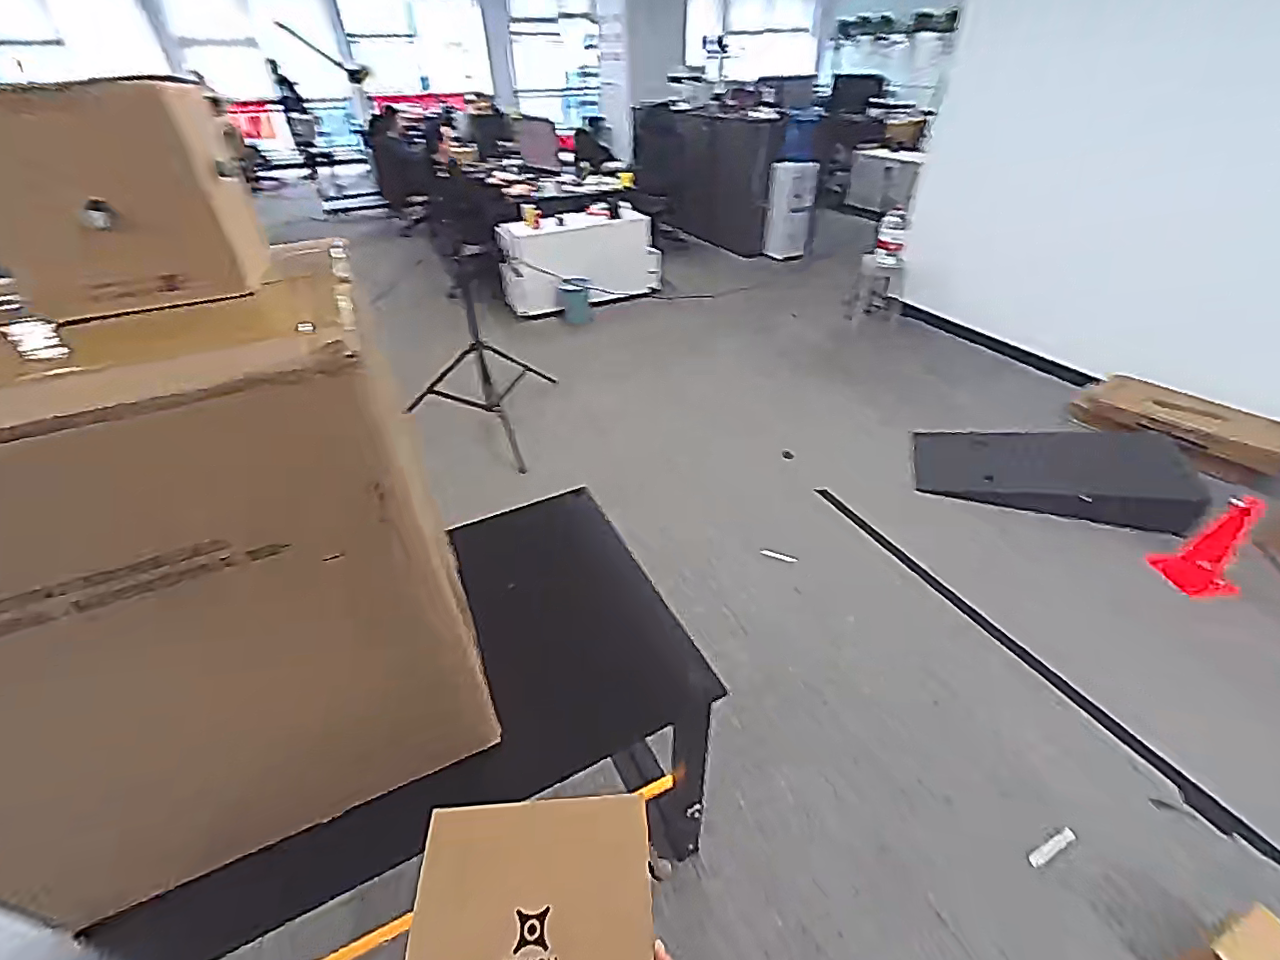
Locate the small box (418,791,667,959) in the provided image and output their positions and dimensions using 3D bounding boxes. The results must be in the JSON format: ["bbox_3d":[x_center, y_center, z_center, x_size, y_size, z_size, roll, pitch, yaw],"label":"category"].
[{"bbox_3d":[-0.063,0.365,0.415,0.168,0.176,0.179,-4,44,0],"label":"small box"}]

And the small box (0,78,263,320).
[{"bbox_3d":[-0.479,-0.259,0.499,0.168,0.176,0.179,-18,39,-19],"label":"small box"}]
